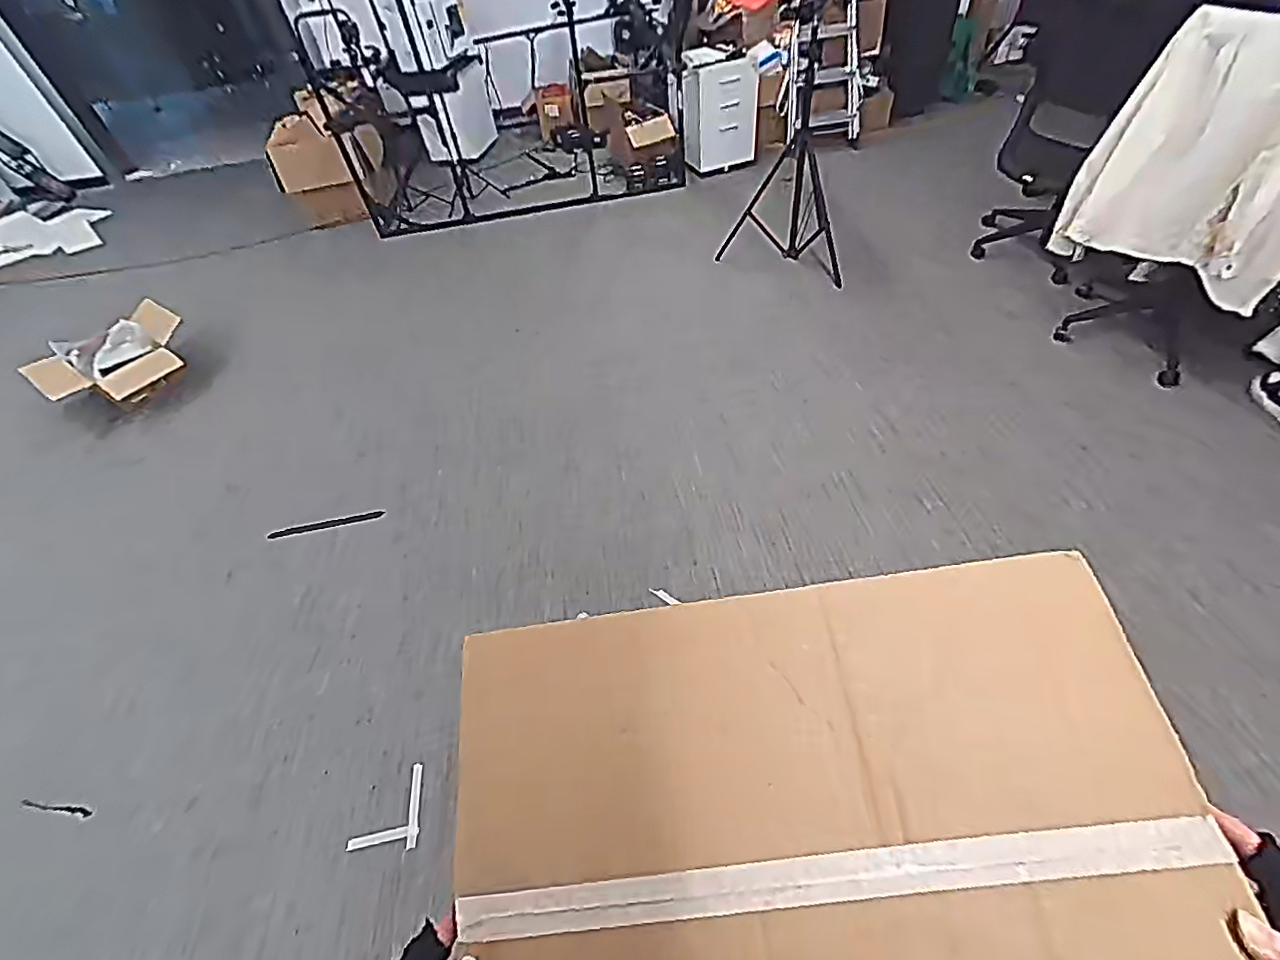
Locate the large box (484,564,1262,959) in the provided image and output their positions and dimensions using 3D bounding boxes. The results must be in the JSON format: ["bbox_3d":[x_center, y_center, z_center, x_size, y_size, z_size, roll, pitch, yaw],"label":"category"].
[{"bbox_3d":[0.123,0.288,0.434,0.408,0.320,0.320,-9,65,4],"label":"large box"}]
